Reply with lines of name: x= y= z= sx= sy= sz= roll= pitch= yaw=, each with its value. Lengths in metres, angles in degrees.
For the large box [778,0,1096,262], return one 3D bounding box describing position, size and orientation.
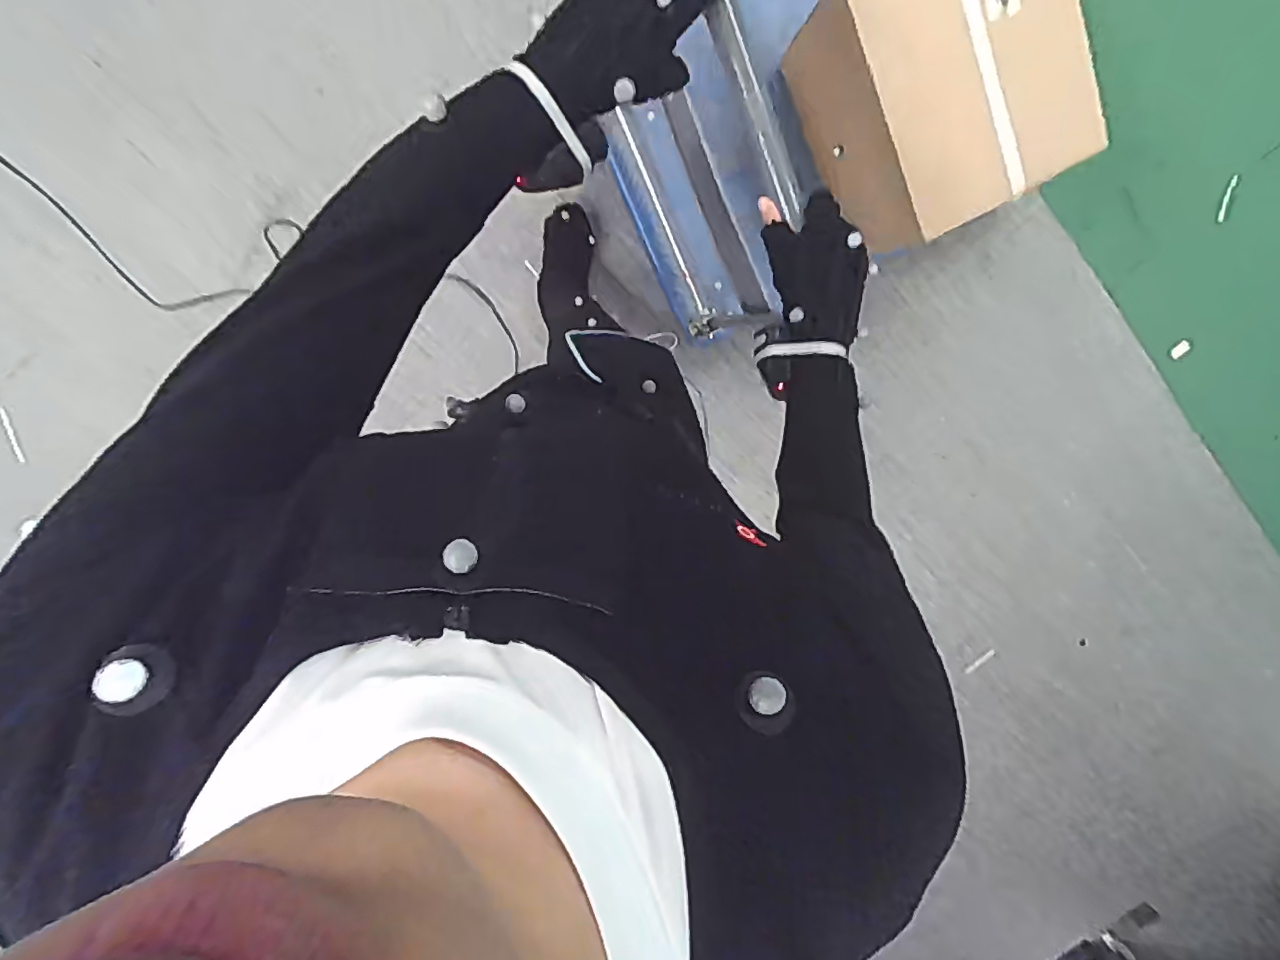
large box: x=0.495 y=-0.660 z=0.960 sx=0.320 sy=0.320 sz=0.408 roll=-26 pitch=105 yaw=5
